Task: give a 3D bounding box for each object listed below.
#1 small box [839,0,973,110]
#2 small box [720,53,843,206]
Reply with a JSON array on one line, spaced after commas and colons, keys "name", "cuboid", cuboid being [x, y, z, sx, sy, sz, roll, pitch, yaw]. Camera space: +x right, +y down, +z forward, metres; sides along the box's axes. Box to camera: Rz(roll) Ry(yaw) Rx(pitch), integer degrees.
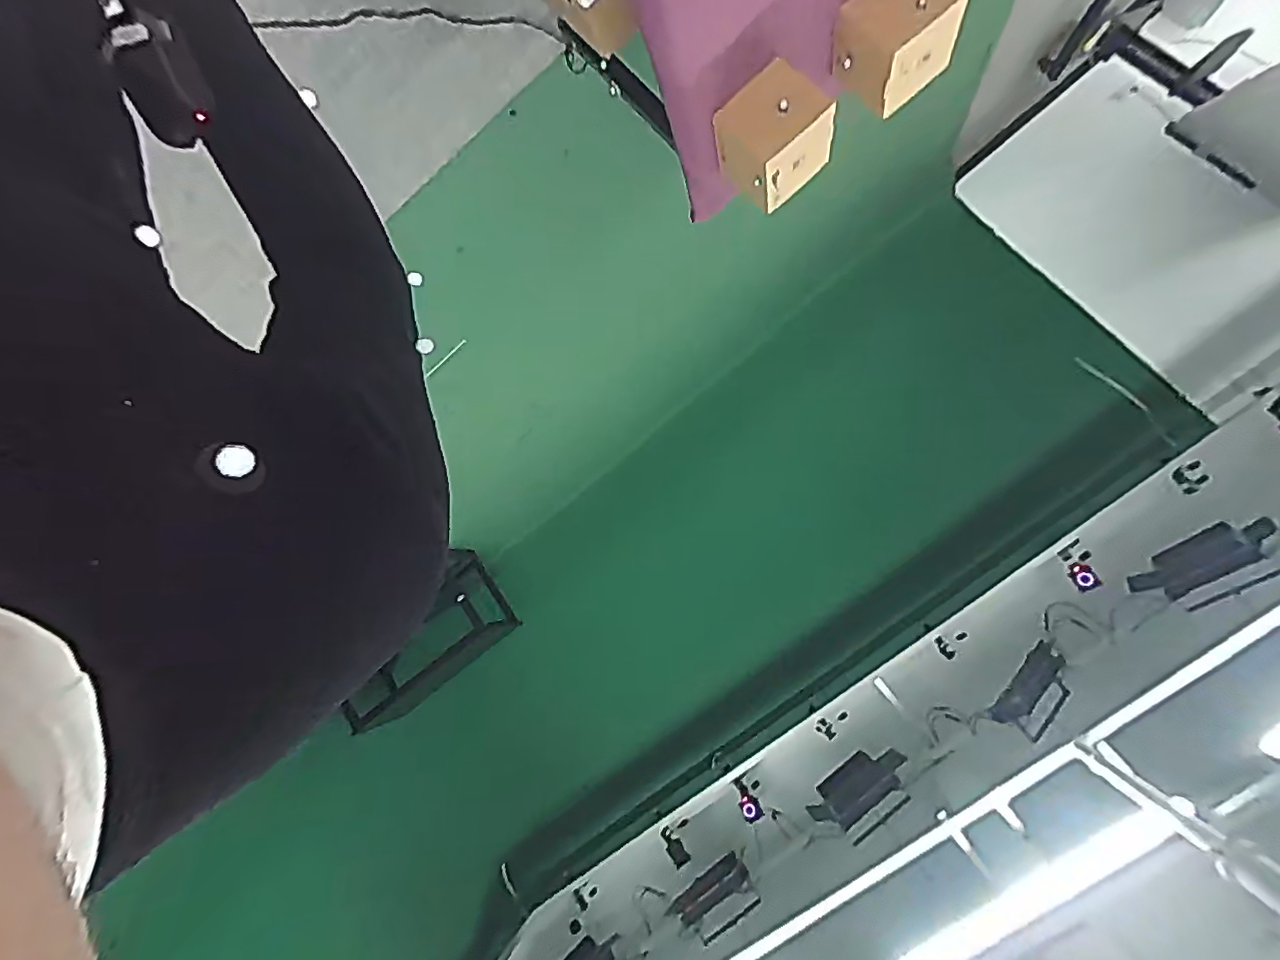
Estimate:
[{"name": "small box", "cuboid": [0.538, -0.927, 1.107, 0.179, 0.176, 0.168, -38, 163, 8]}, {"name": "small box", "cuboid": [0.292, -0.733, 1.135, 0.179, 0.176, 0.168, -41, 163, 6]}]
